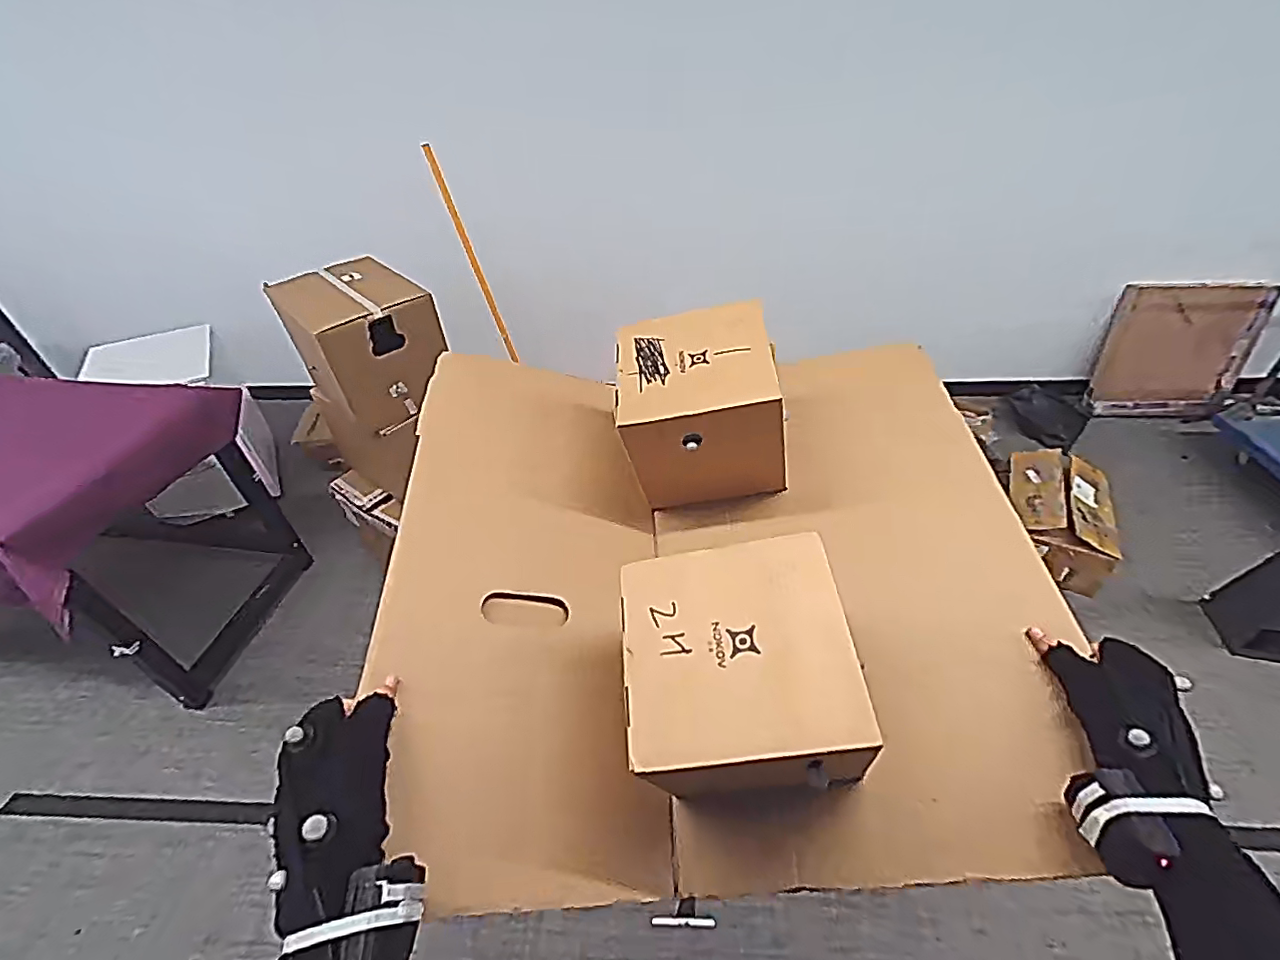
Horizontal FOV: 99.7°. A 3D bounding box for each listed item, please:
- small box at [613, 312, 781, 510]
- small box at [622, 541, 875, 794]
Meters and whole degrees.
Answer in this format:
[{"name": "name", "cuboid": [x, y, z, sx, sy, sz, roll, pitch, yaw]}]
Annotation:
[{"name": "small box", "cuboid": [0.074, -0.077, 0.677, 0.179, 0.176, 0.168, -9, 53, 10]}, {"name": "small box", "cuboid": [0.091, 0.177, 0.488, 0.179, 0.176, 0.168, -12, 53, 10]}]
